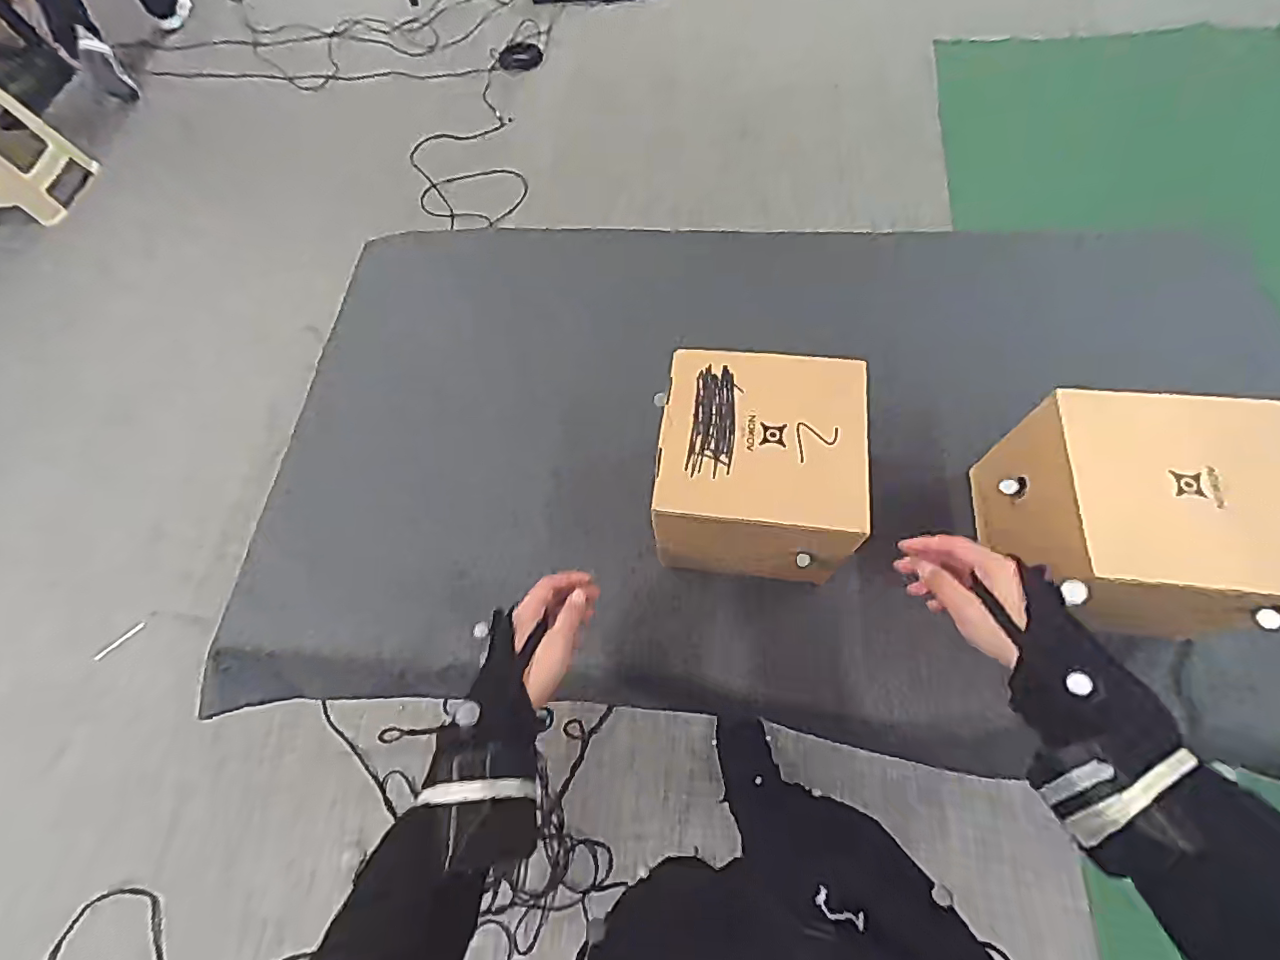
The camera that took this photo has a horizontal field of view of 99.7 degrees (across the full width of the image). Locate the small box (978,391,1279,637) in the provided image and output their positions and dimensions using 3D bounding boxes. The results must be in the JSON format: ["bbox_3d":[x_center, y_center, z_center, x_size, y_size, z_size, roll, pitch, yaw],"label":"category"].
[{"bbox_3d":[0.430,0.039,0.483,0.179,0.176,0.168,5,66,8],"label":"small box"}]
